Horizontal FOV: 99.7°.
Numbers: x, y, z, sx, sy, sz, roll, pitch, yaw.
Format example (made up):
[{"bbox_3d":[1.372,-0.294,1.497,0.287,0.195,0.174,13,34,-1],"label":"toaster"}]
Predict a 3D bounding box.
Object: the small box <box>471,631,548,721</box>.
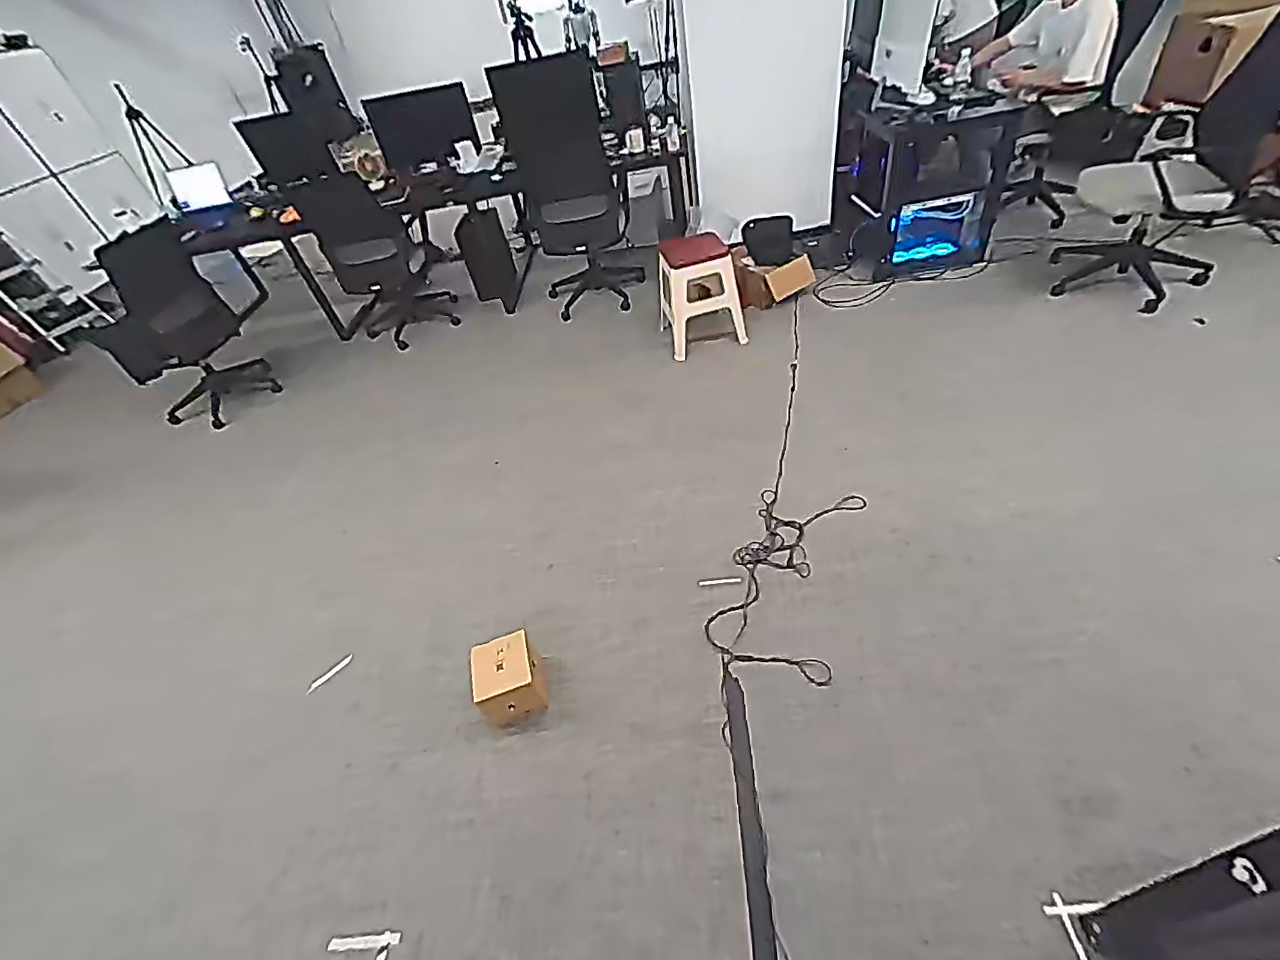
[{"bbox_3d":[-0.378,0.577,1.573,0.168,0.176,0.179,-19,43,-5],"label":"small box"}]
